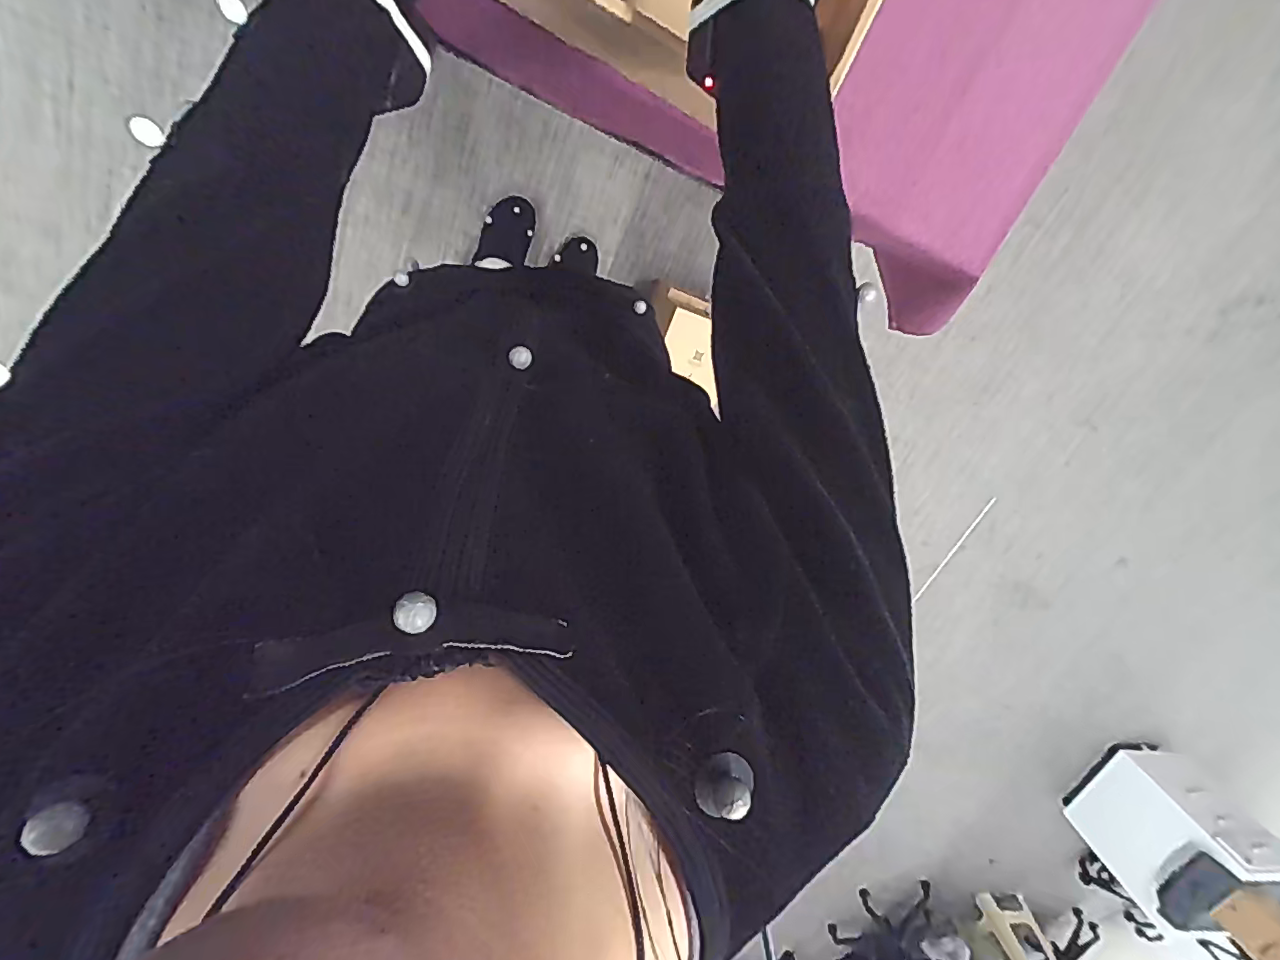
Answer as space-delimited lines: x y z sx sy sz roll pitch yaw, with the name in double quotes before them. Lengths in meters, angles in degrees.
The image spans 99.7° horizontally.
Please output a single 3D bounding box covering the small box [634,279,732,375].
"small box" 0.099 -0.390 1.359 0.179 0.176 0.168 18 113 -16
